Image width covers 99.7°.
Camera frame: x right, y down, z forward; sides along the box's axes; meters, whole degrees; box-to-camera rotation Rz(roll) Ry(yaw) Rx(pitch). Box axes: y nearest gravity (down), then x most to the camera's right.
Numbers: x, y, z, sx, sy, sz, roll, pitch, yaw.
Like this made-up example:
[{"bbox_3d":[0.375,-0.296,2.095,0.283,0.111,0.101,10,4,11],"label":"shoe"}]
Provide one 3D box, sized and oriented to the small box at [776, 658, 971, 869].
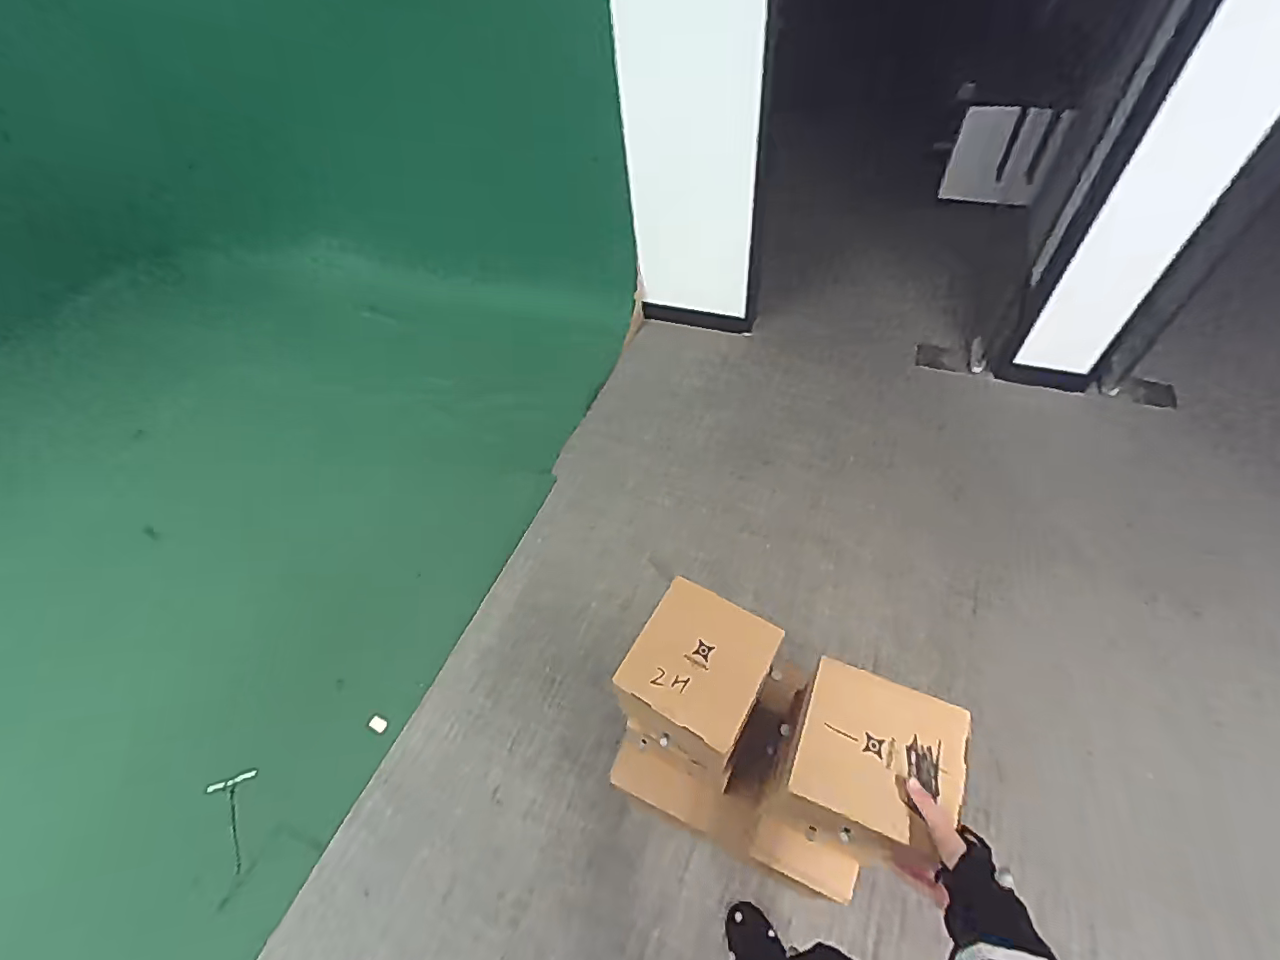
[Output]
[{"bbox_3d":[0.283,0.356,0.682,0.179,0.176,0.168,17,57,19],"label":"small box"}]
